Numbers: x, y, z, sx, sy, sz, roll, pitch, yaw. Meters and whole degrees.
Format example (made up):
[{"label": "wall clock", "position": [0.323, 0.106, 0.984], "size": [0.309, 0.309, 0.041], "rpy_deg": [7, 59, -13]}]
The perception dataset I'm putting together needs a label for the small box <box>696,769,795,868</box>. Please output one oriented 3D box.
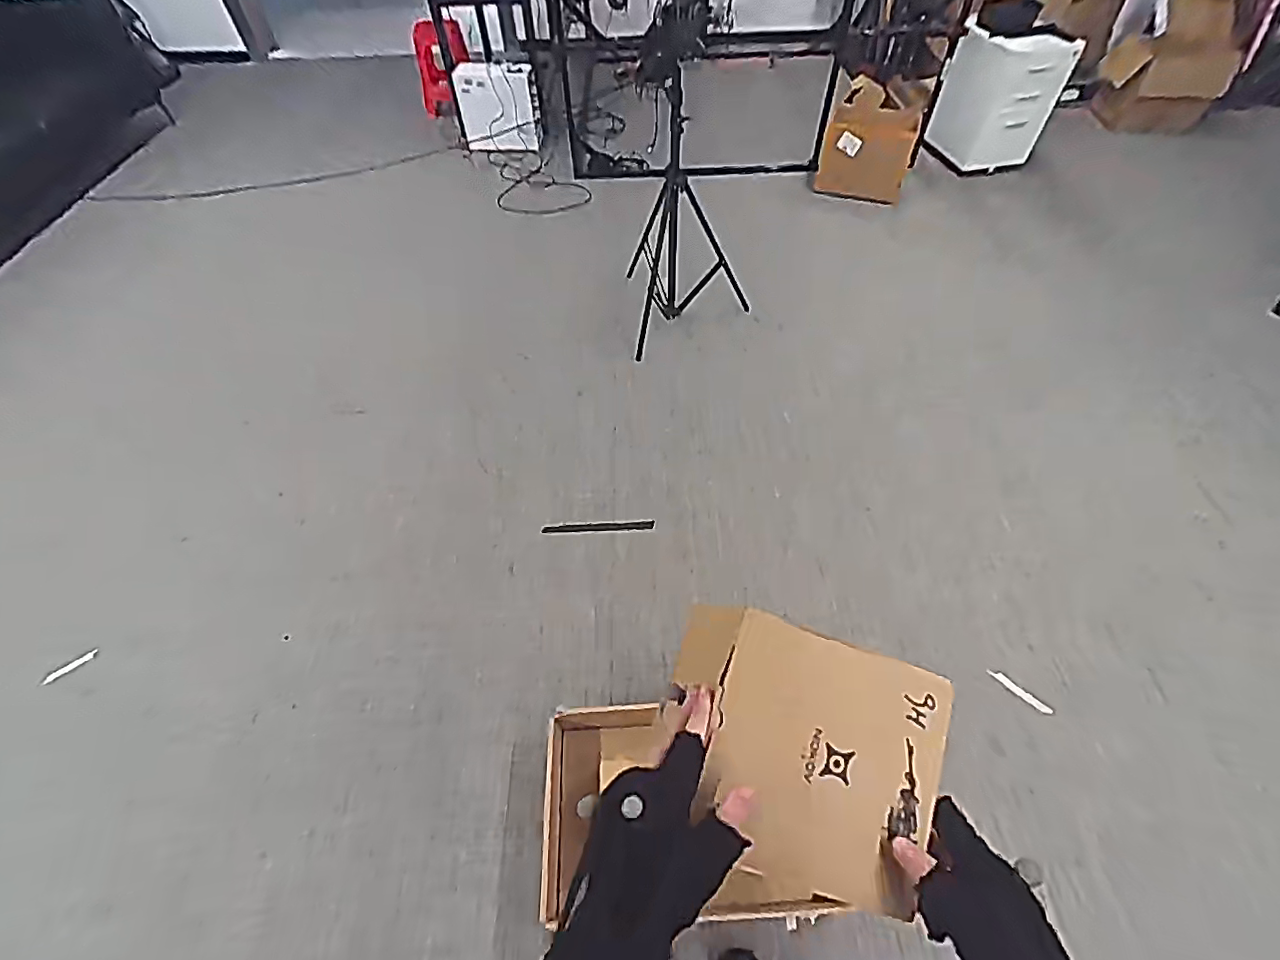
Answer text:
[{"label": "small box", "position": [0.216, 0.728, 1.161], "size": [0.179, 0.176, 0.168], "rpy_deg": [-3, 52, 1]}]
